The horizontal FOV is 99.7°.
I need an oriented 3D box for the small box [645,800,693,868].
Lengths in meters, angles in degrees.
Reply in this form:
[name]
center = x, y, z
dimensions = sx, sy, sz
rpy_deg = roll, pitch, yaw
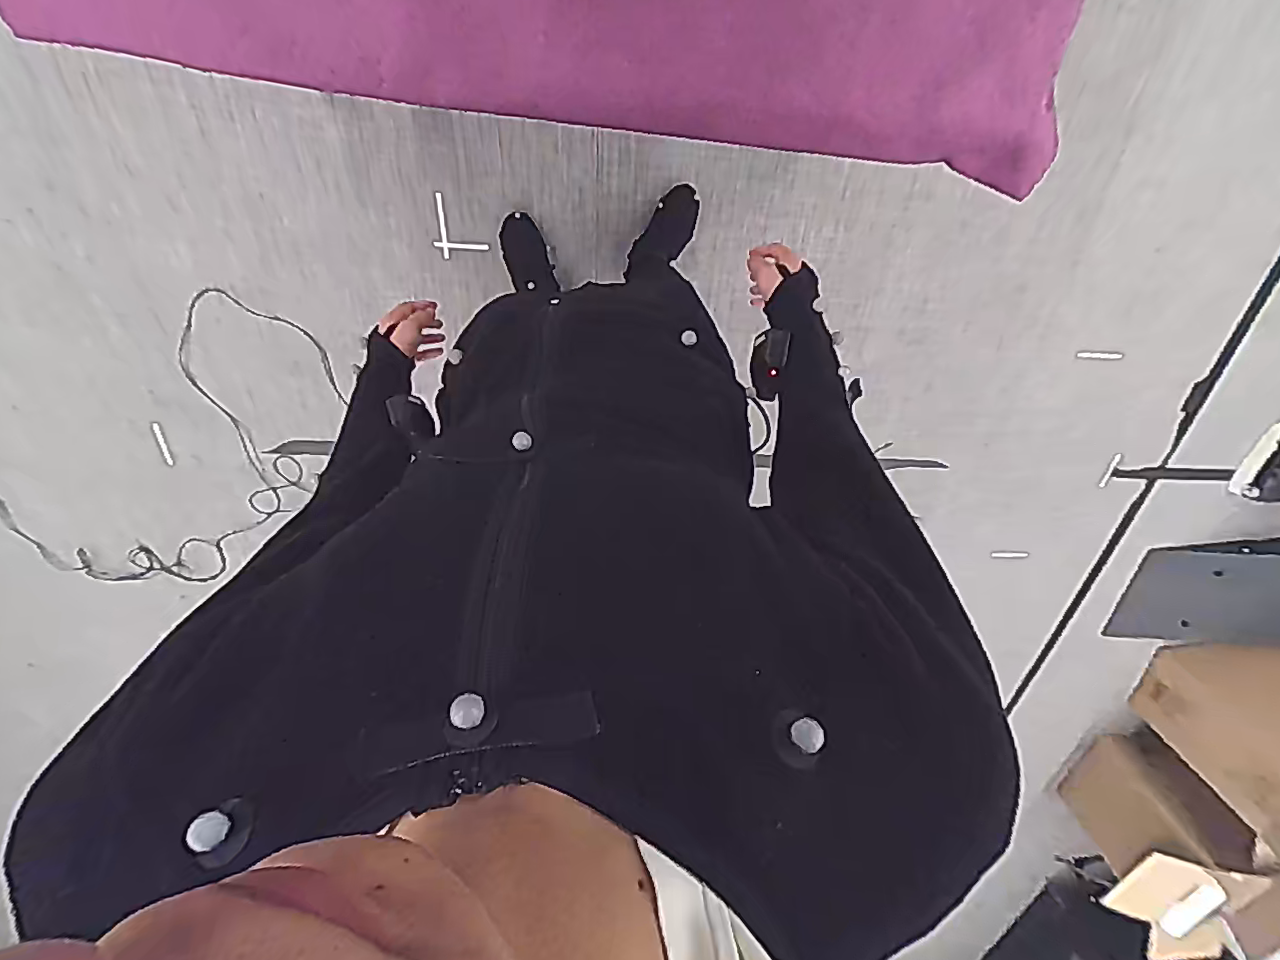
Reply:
[small box]
center = 0.112, 1.437, 2.200
dimensions = 0.168, 0.176, 0.179
rpy_deg = -1, 120, -7
